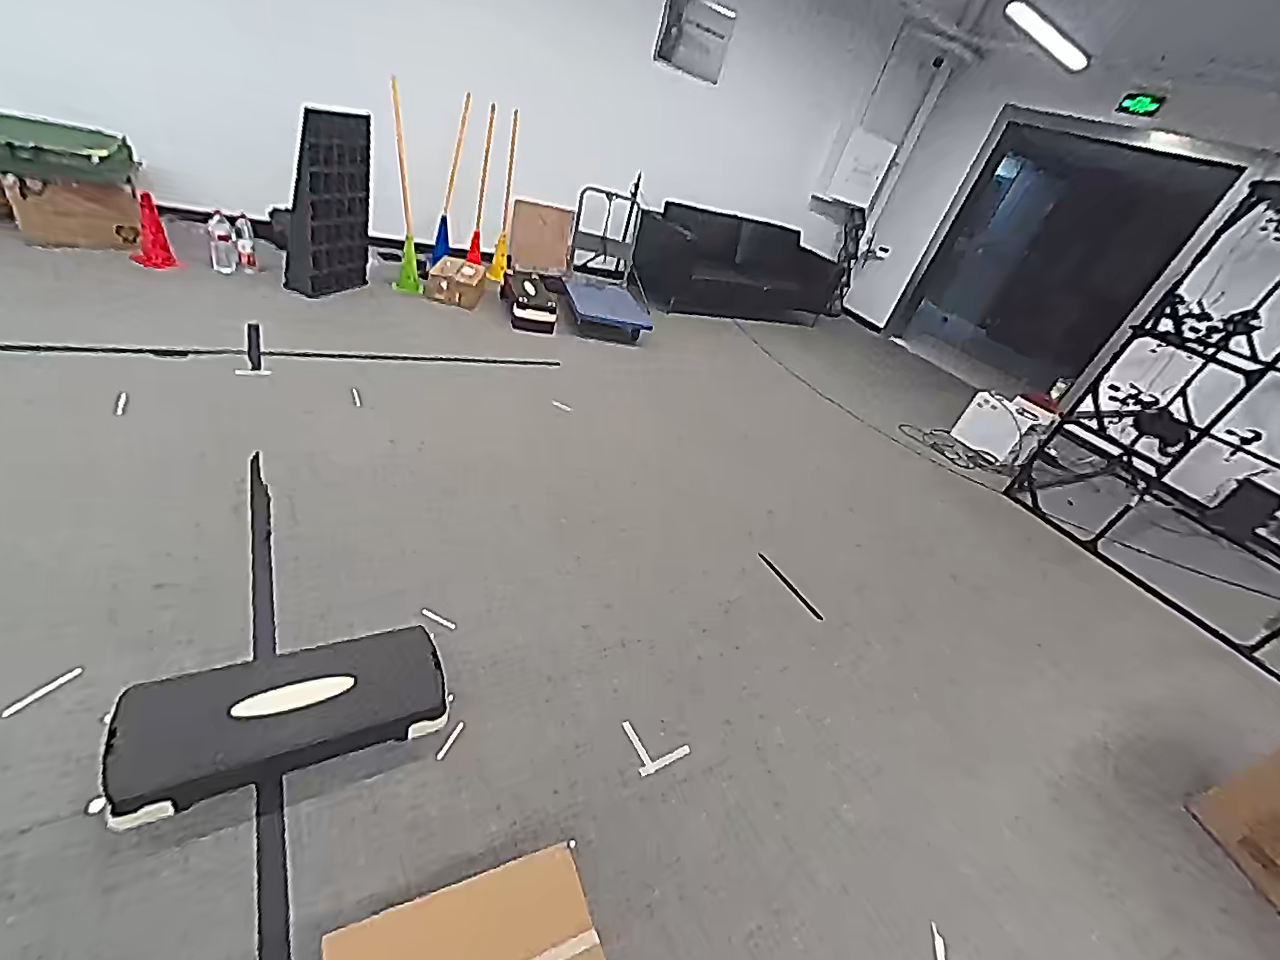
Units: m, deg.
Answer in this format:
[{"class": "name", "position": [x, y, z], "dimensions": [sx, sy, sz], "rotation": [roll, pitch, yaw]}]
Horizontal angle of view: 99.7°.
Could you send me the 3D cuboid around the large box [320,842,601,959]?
[{"class": "large box", "position": [-0.295, 0.903, 0.901], "dimensions": [0.408, 0.320, 0.320], "rotation": [-1, 38, -31]}]
